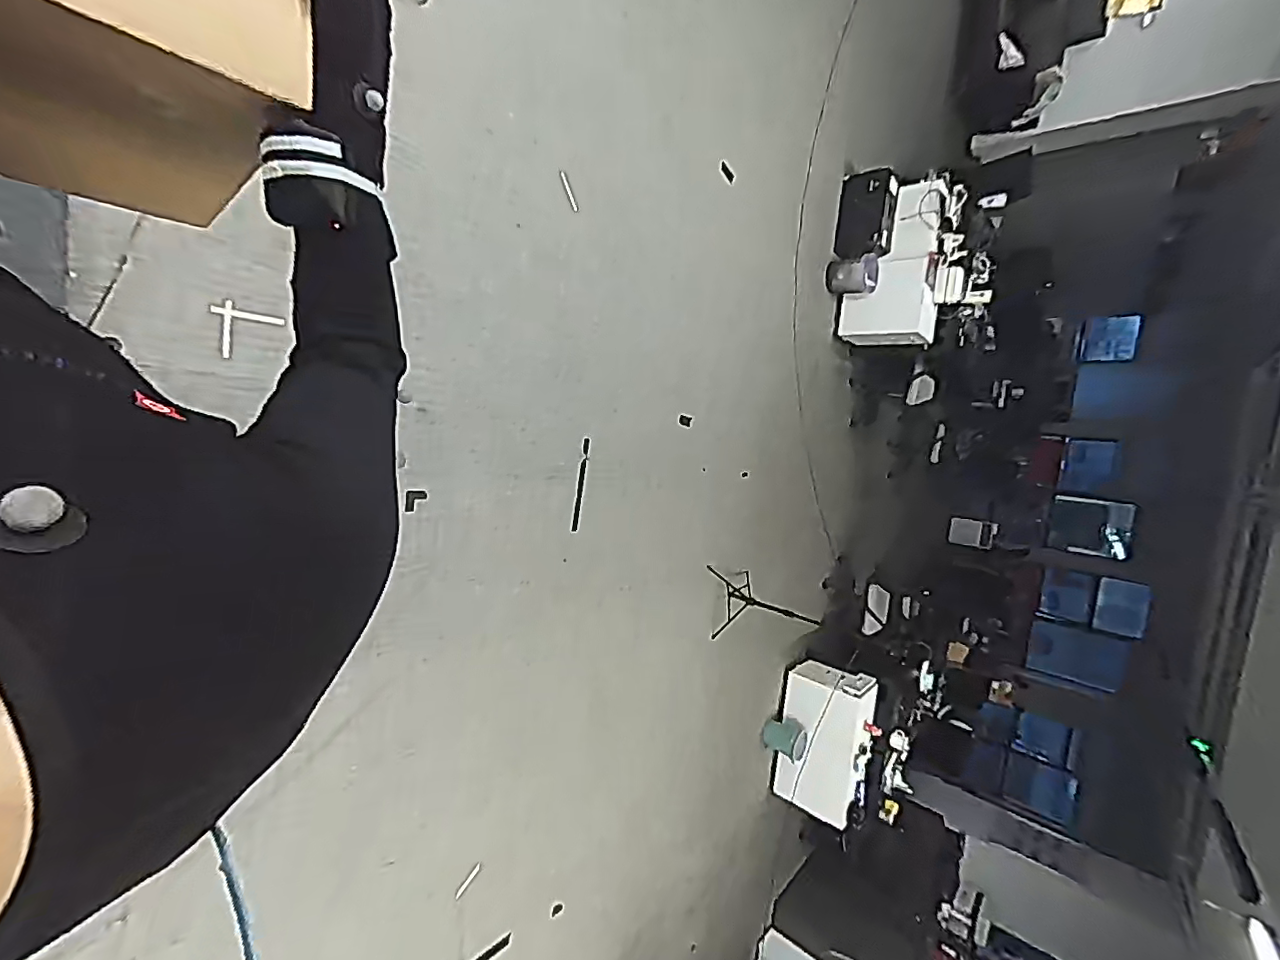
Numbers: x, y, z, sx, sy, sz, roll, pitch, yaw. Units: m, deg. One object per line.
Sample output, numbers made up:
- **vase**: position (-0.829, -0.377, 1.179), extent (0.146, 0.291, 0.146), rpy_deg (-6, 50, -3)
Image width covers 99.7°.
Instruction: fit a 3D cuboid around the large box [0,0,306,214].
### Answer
- **large box**: position (-0.487, -0.420, 0.330), extent (0.408, 0.320, 0.320), rpy_deg (-3, 95, -50)
